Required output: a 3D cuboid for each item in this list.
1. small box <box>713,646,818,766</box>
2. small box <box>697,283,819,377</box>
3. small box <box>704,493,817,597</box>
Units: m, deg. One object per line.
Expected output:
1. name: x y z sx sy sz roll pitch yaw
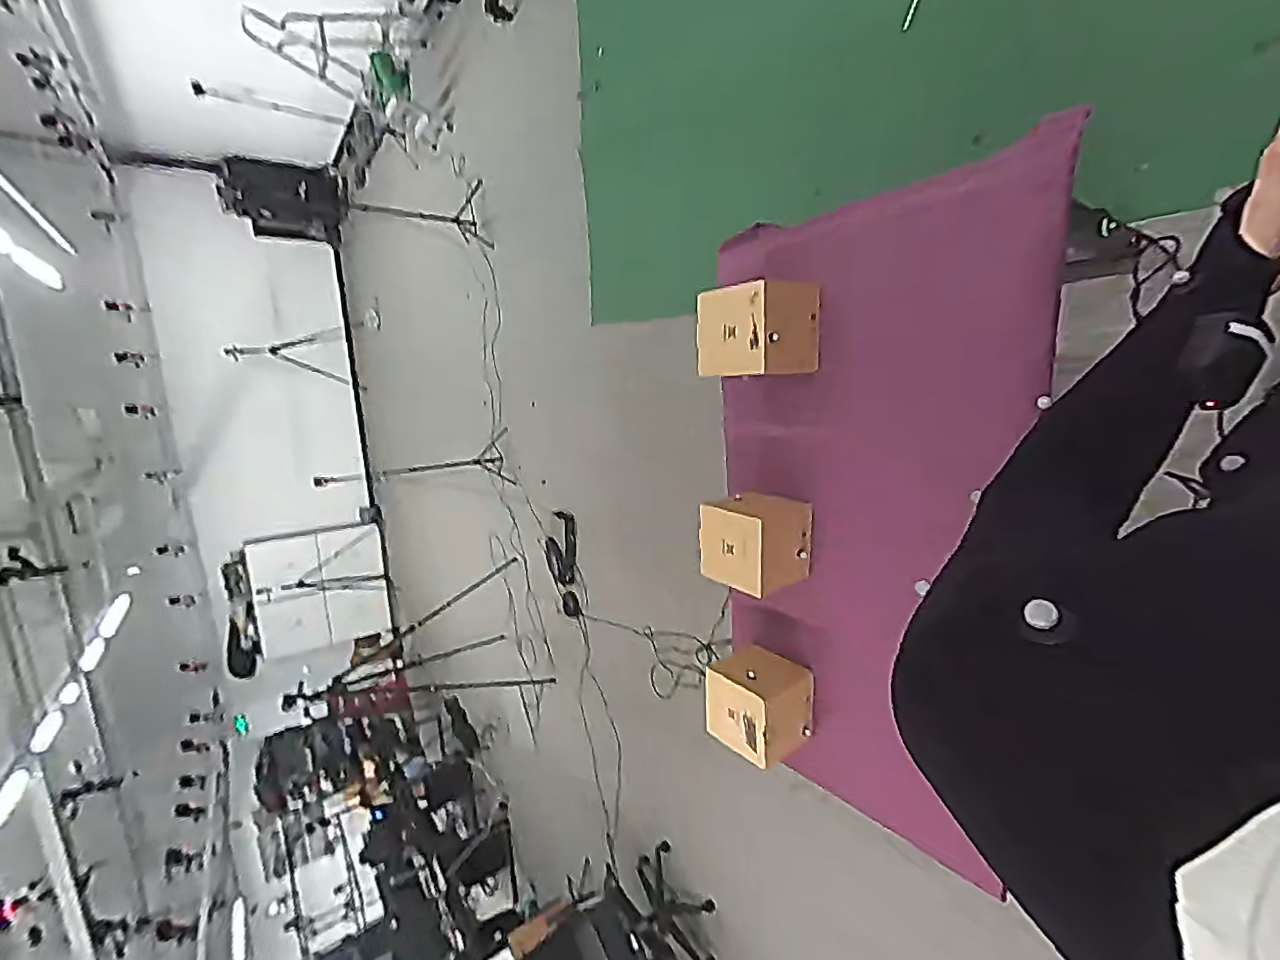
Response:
1. small box: 0.290 0.503 1.238 0.179 0.176 0.168 11 107 51
2. small box: 0.236 -0.295 1.086 0.179 0.176 0.168 11 109 52
3. small box: 0.260 0.131 1.179 0.179 0.176 0.168 13 111 50
